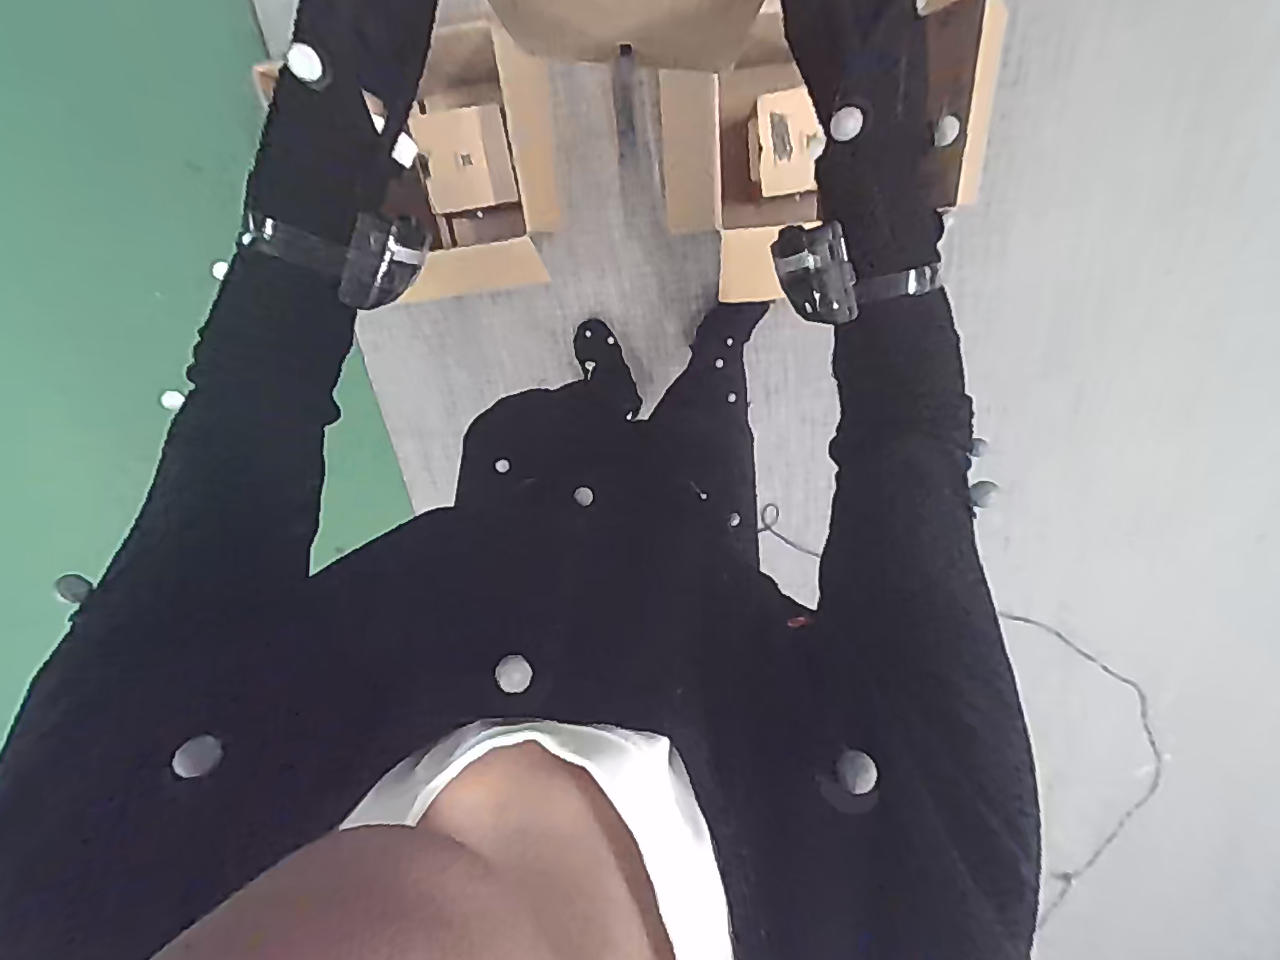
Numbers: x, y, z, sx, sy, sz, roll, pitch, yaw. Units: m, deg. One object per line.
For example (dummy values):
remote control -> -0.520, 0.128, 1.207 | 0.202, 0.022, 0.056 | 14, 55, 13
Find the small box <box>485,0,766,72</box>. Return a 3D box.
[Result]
small box -> -0.008, -0.384, 0.343 | 0.179, 0.176, 0.168 | 3, 113, -1
